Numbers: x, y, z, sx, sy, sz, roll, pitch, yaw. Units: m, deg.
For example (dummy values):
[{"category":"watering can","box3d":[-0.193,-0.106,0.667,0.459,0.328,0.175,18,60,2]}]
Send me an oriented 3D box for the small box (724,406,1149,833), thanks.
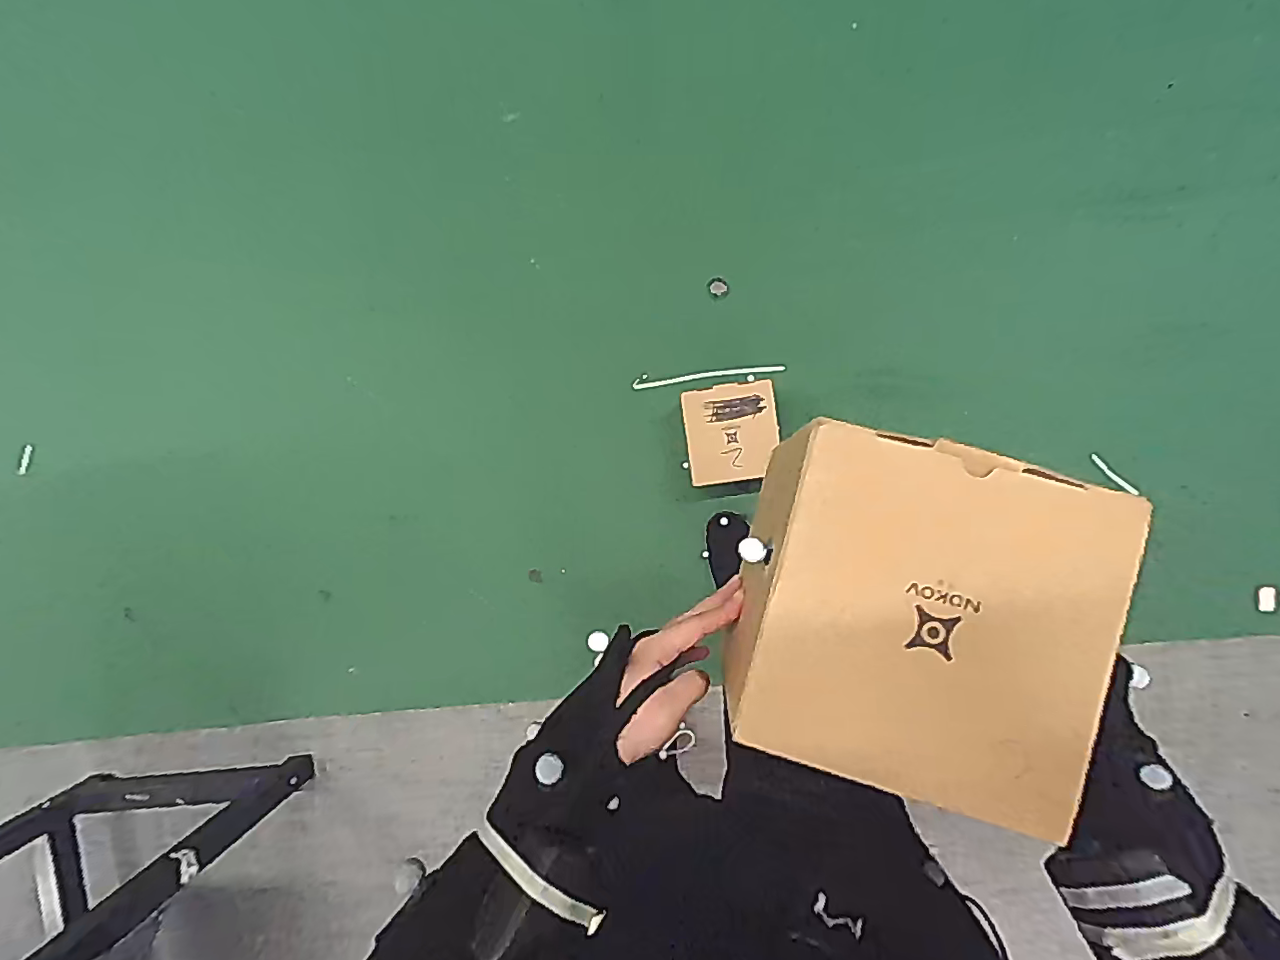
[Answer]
[{"category":"small box","box3d":[0.154,0.069,0.348,0.168,0.176,0.179,15,88,7]}]
